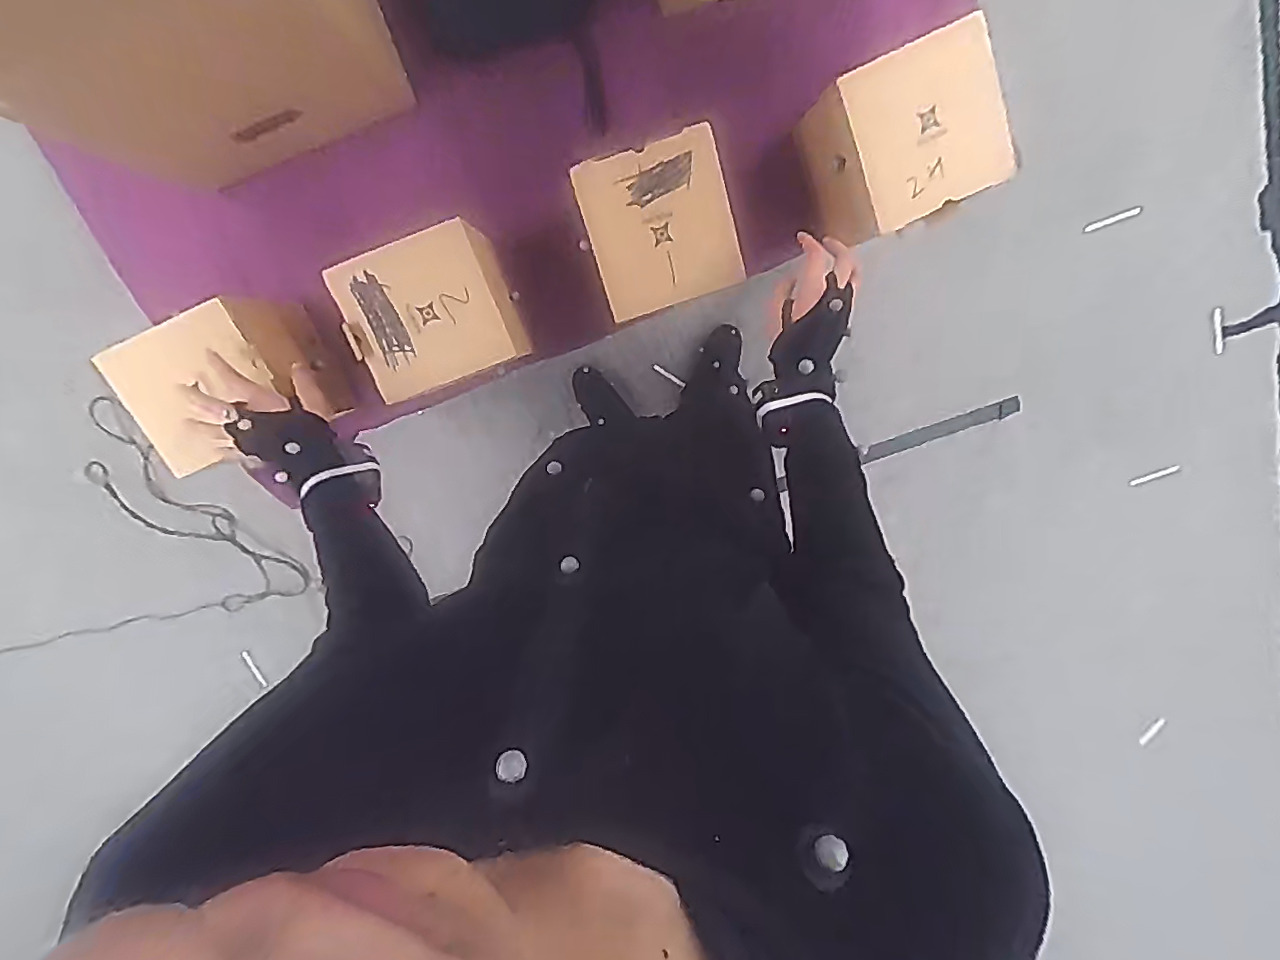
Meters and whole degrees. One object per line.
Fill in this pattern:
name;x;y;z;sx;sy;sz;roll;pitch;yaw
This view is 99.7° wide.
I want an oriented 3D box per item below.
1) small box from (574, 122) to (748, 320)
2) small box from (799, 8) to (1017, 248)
small box;0.023;-0.313;0.694;0.168;0.176;0.179;-17;107;3
small box;0.318;-0.415;0.675;0.168;0.176;0.179;-23;106;6
